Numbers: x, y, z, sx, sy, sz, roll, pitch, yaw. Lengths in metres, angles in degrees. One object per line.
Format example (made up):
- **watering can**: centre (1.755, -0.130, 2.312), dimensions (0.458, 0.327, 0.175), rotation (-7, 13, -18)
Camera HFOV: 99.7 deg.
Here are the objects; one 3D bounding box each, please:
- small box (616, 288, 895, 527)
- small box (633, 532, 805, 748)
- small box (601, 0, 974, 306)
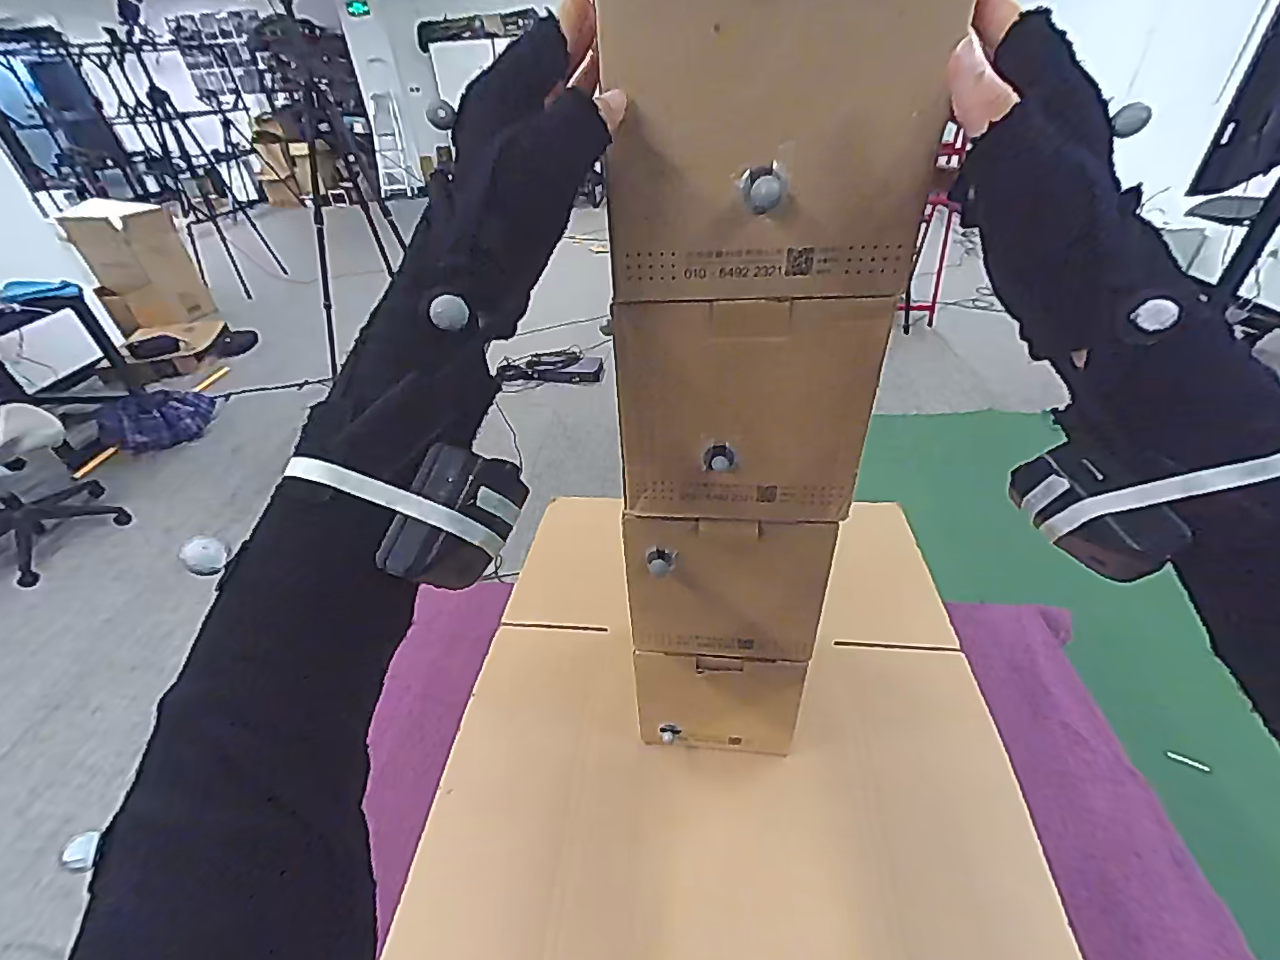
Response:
- **small box**: centre (0.076, -0.084, 0.429), dimensions (0.168, 0.176, 0.179), rotation (1, 36, 6)
- **small box**: centre (0.089, 0.181, 0.621), dimensions (0.168, 0.176, 0.179), rotation (2, 36, 7)
- **small box**: centre (0.068, -0.216, 0.332), dimensions (0.168, 0.176, 0.179), rotation (0, 37, 4)
